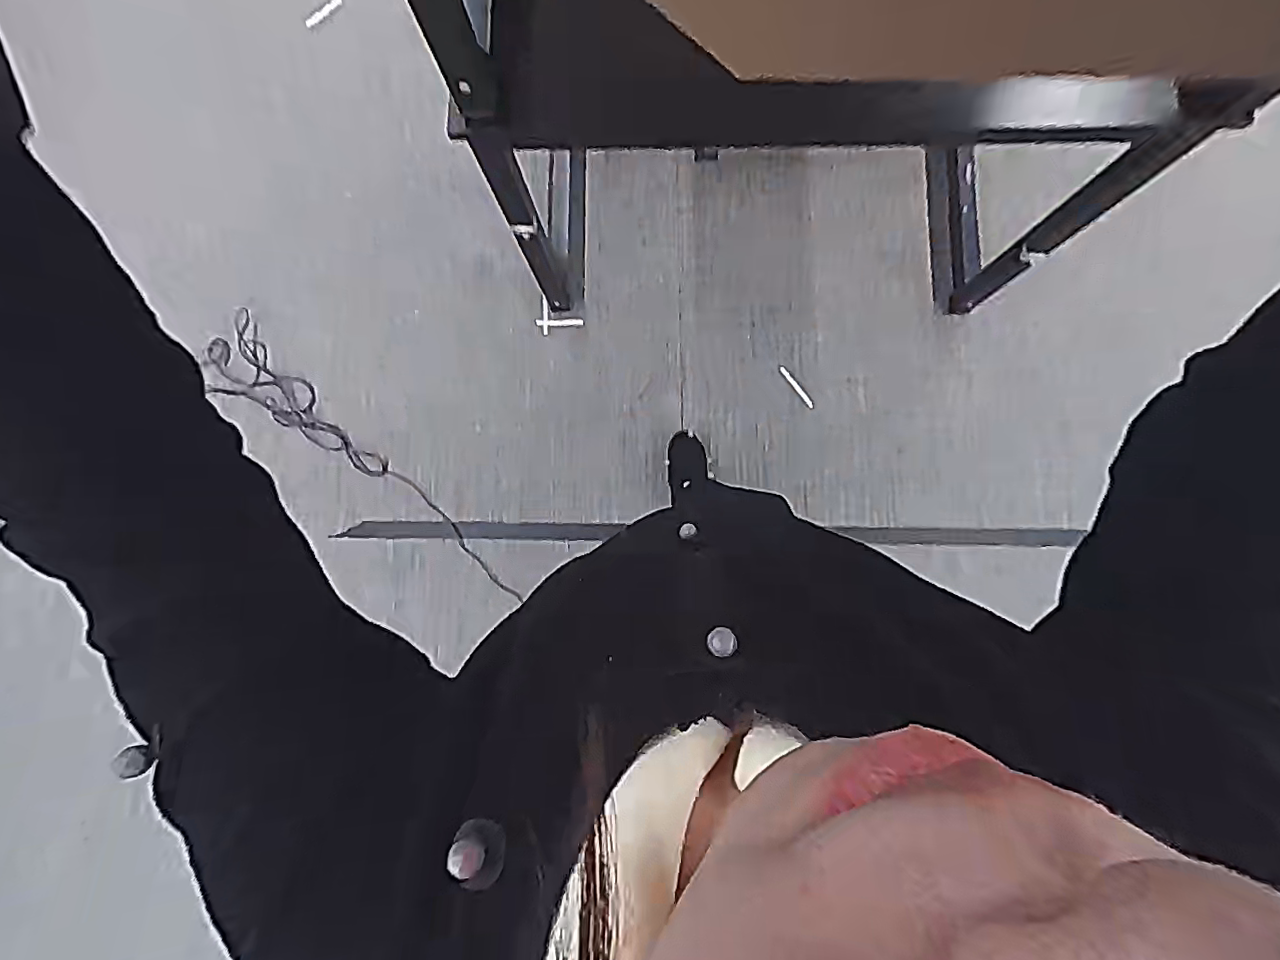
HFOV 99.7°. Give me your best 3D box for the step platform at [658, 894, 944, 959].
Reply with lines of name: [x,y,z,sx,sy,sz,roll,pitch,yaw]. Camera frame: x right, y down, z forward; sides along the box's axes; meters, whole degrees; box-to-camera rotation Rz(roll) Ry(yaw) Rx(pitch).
step platform: [0.383,1.223,1.269,0.684,0.204,0.286,6,84,2]
